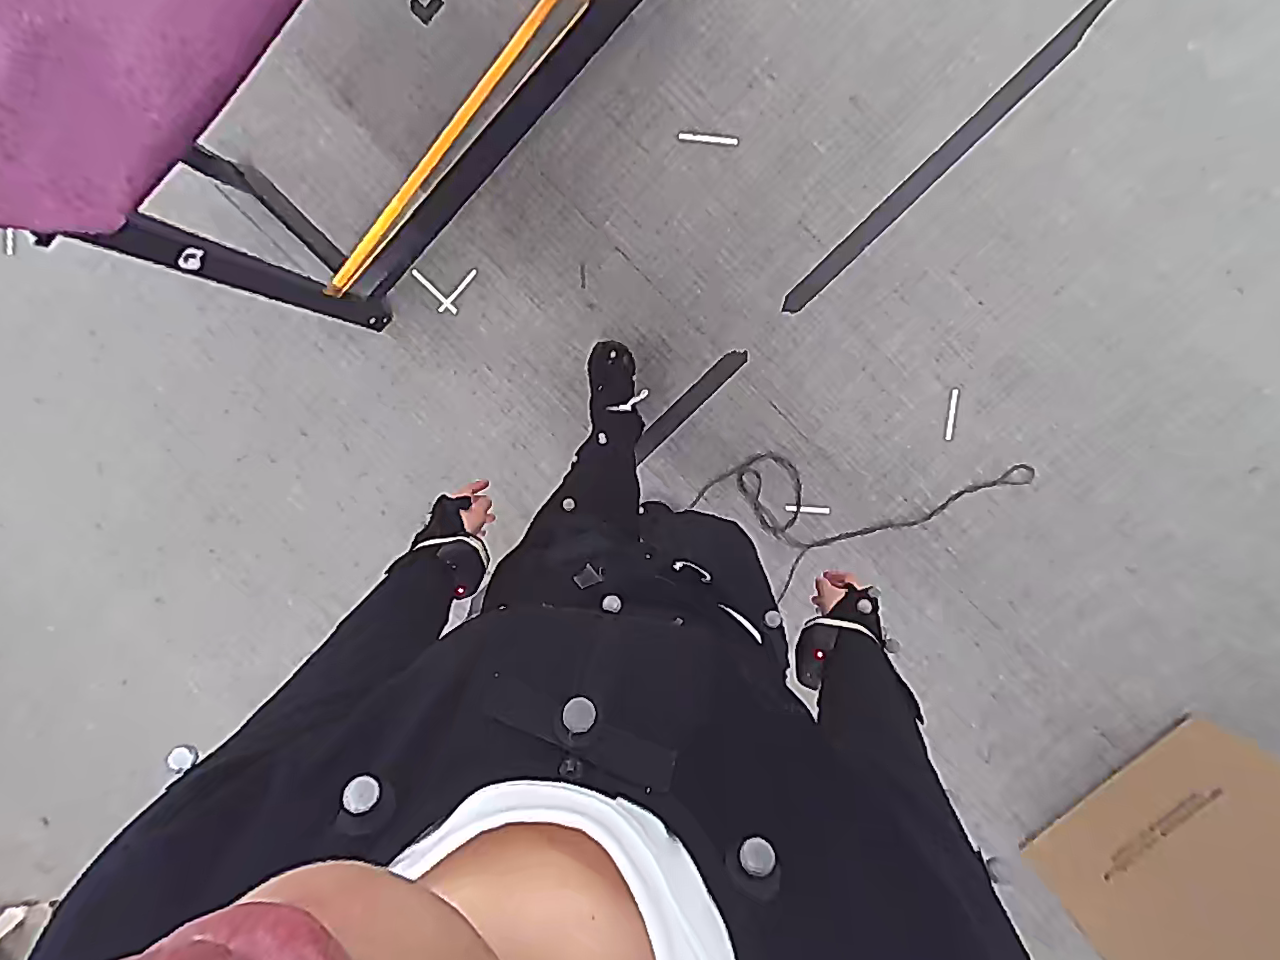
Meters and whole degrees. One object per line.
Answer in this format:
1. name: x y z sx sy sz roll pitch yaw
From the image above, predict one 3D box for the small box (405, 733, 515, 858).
1. small box: -0.446 0.791 1.373 0.168 0.176 0.179 44 96 0
